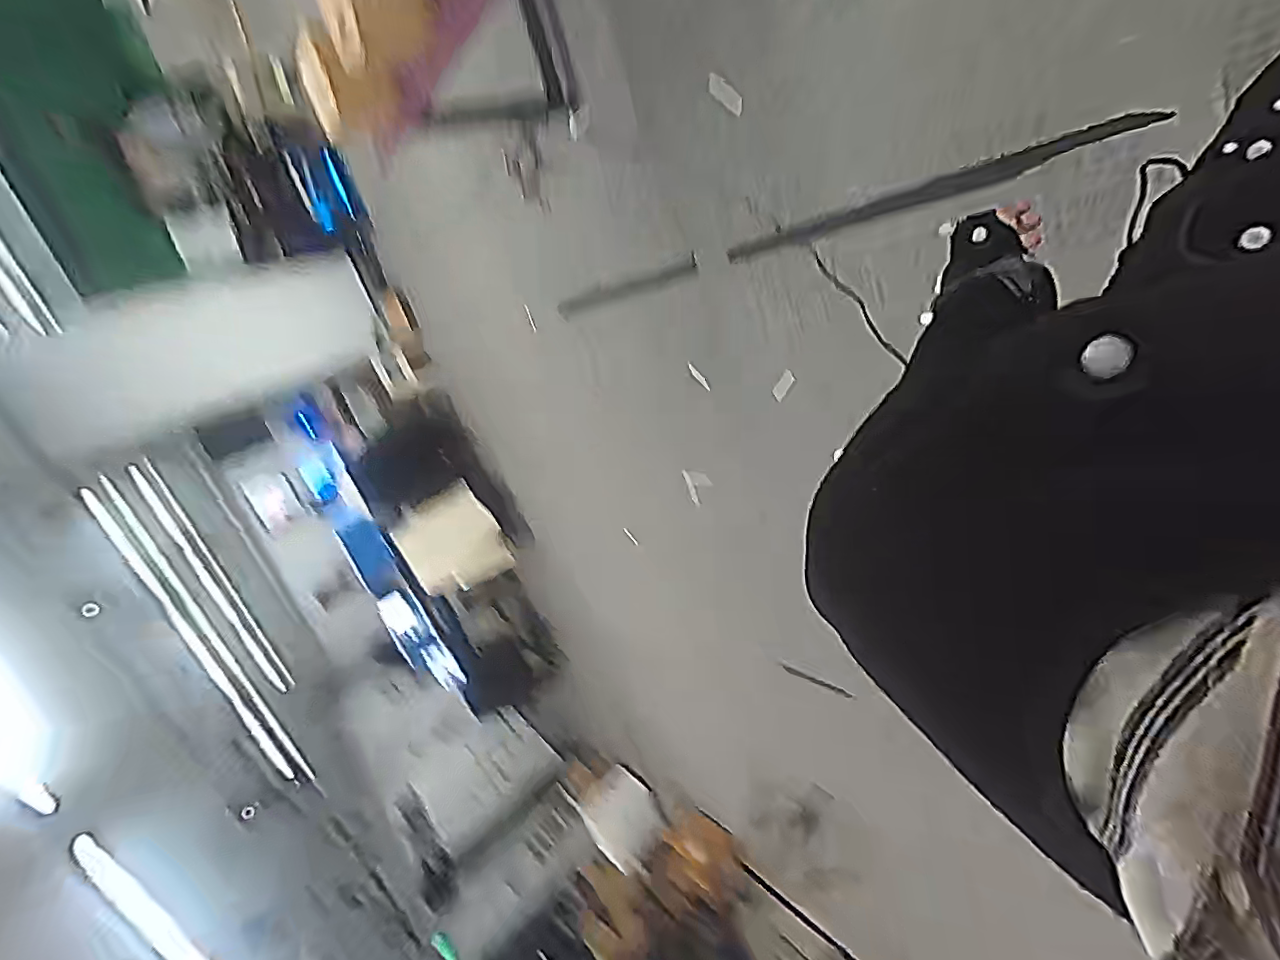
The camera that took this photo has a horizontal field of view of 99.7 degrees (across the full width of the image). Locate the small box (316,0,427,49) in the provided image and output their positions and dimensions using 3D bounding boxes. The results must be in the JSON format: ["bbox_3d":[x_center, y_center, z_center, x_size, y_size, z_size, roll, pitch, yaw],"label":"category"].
[{"bbox_3d":[-0.562,-1.025,1.101,0.168,0.176,0.179,7,122,53],"label":"small box"}]

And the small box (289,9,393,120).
[{"bbox_3d":[-0.752,-1.043,1.365,0.179,0.176,0.168,7,122,53],"label":"small box"}]
